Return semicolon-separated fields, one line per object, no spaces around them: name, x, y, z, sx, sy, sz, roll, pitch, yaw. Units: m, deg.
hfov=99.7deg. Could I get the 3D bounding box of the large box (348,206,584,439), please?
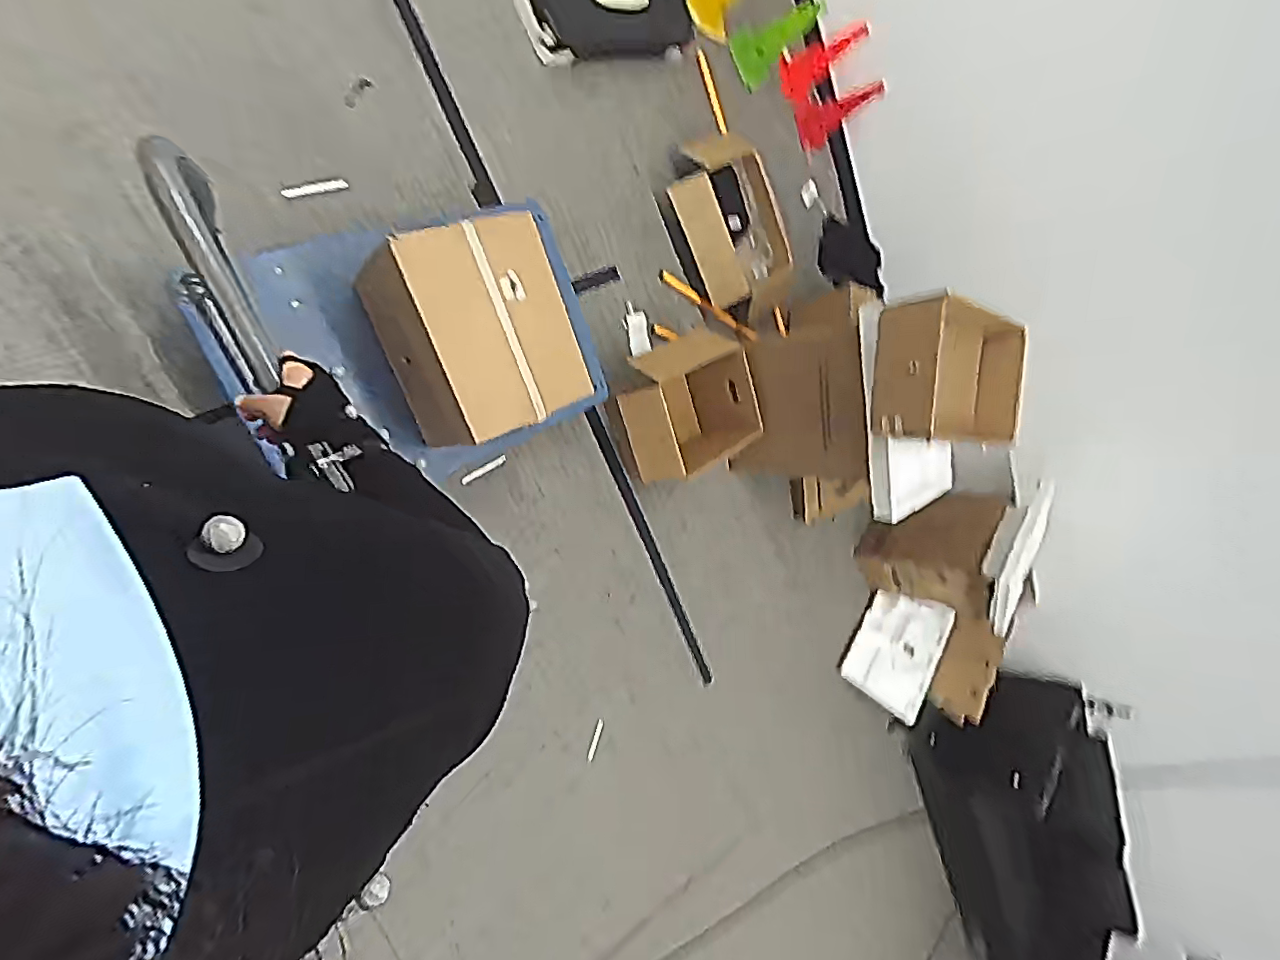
large box;-0.393;-0.337;1.227;0.320;0.320;0.408;-31;110;-35
